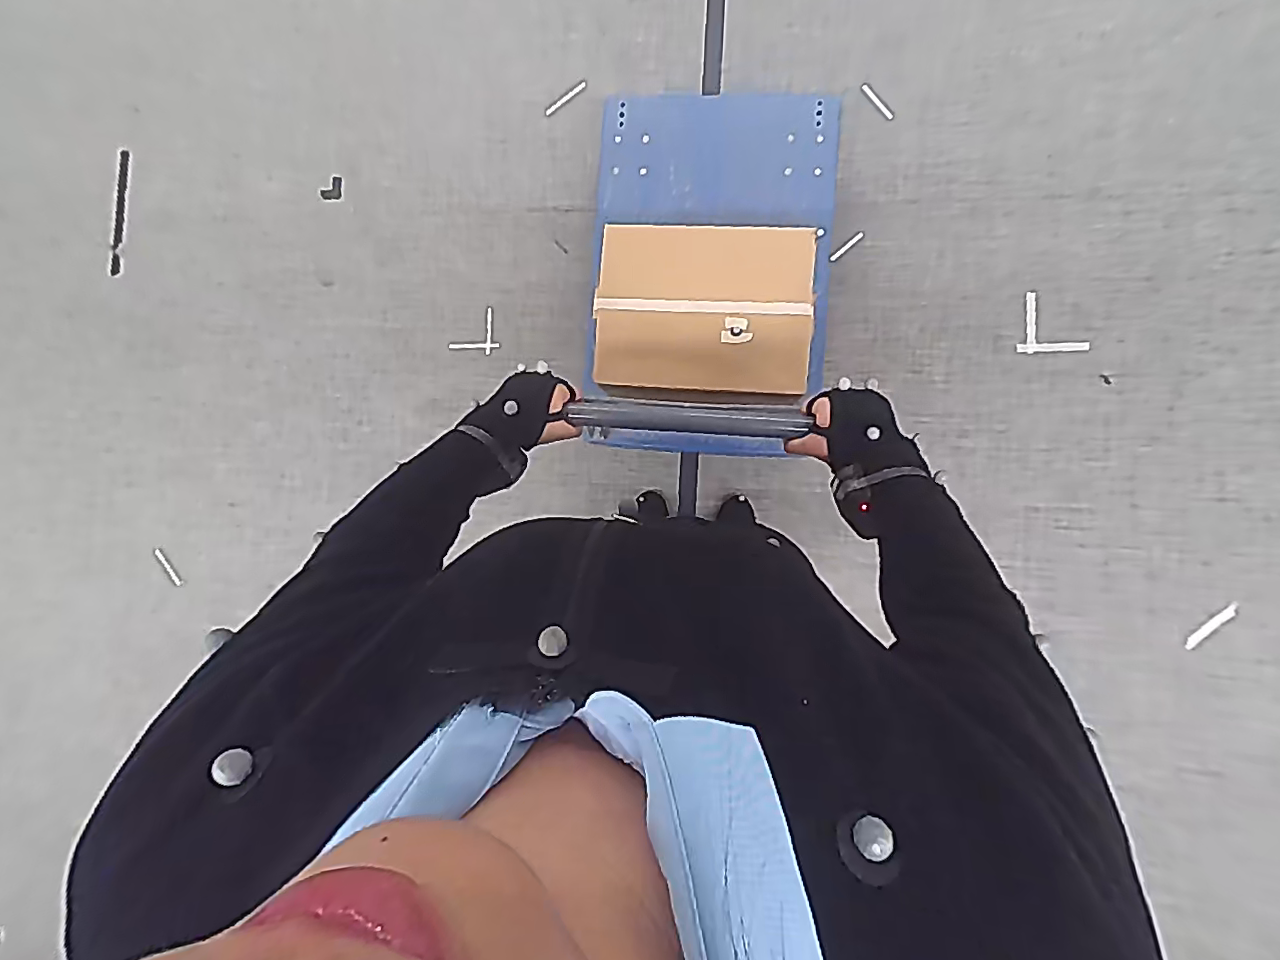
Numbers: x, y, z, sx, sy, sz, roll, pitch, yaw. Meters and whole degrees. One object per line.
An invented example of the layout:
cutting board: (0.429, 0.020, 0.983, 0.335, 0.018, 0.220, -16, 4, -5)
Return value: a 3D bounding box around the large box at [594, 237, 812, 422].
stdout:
large box: (0.128, -0.303, 1.169, 0.408, 0.320, 0.320, 4, 90, 6)
